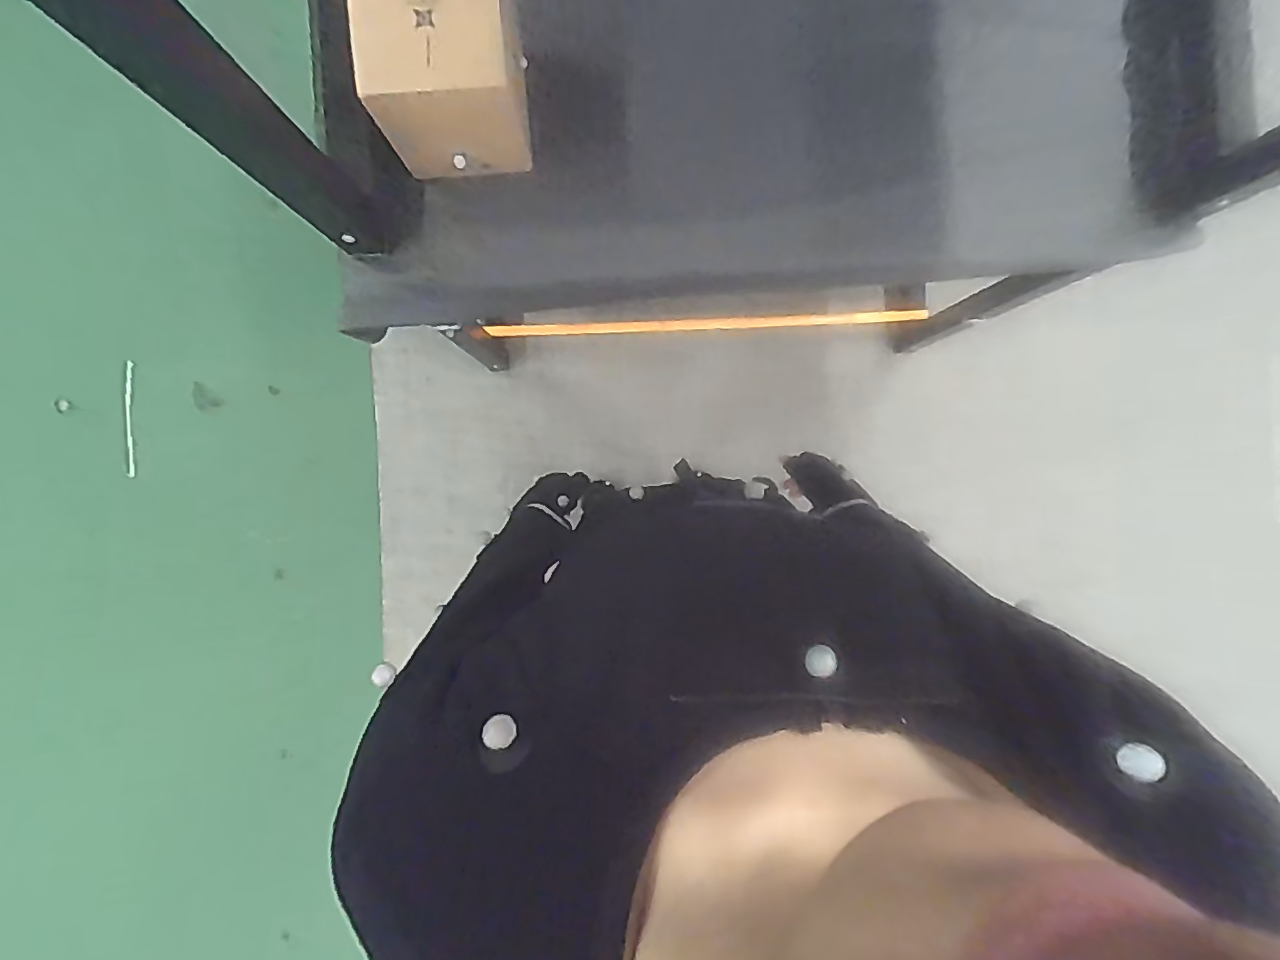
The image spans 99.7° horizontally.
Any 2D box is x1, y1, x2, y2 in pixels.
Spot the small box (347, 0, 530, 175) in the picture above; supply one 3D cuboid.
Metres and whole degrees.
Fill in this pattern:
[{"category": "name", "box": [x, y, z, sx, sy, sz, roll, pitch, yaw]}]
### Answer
[{"category": "small box", "box": [-0.235, -0.510, 0.663, 0.168, 0.176, 0.179, -5, 91, -1]}]
